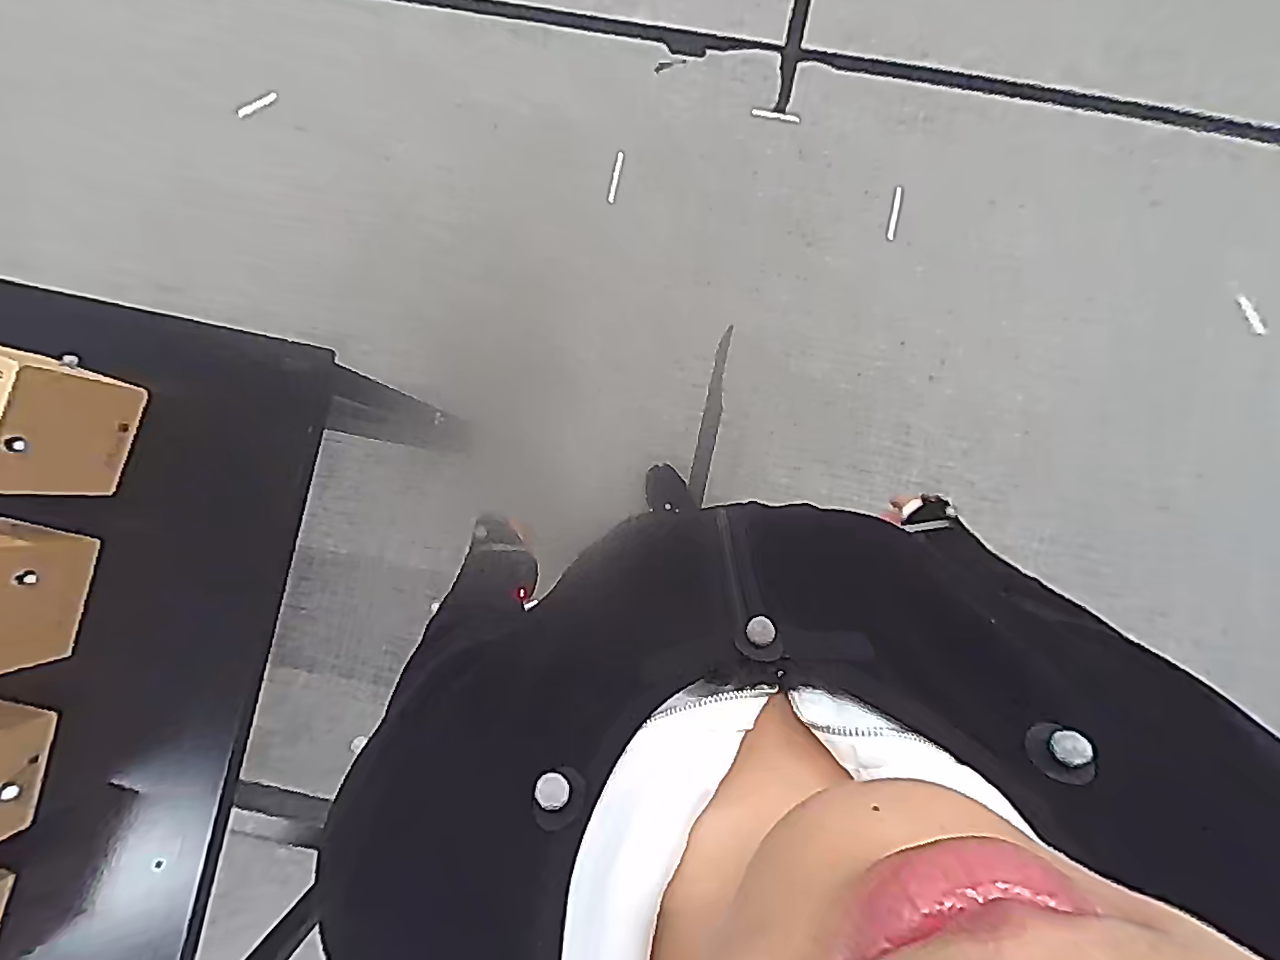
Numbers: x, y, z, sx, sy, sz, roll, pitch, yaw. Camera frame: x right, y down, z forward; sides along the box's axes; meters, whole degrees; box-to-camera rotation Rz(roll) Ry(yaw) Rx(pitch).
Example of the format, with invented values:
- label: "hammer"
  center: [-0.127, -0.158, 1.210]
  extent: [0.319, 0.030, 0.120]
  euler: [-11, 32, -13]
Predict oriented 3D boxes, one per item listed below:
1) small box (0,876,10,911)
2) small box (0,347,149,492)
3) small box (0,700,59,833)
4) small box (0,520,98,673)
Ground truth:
- label: "small box"
  center: [-0.993, 0.612, 0.688]
  extent: [0.179, 0.176, 0.168]
  euler: [15, 86, 3]
- label: "small box"
  center: [-0.836, -0.084, 0.725]
  extent: [0.179, 0.176, 0.168]
  euler: [18, 88, 3]
- label: "small box"
  center: [-0.940, 0.394, 0.700]
  extent: [0.179, 0.176, 0.168]
  euler: [12, 87, 1]
- label: "small box"
  center: [-0.888, 0.152, 0.715]
  extent: [0.168, 0.176, 0.179]
  euler: [12, 88, 4]
